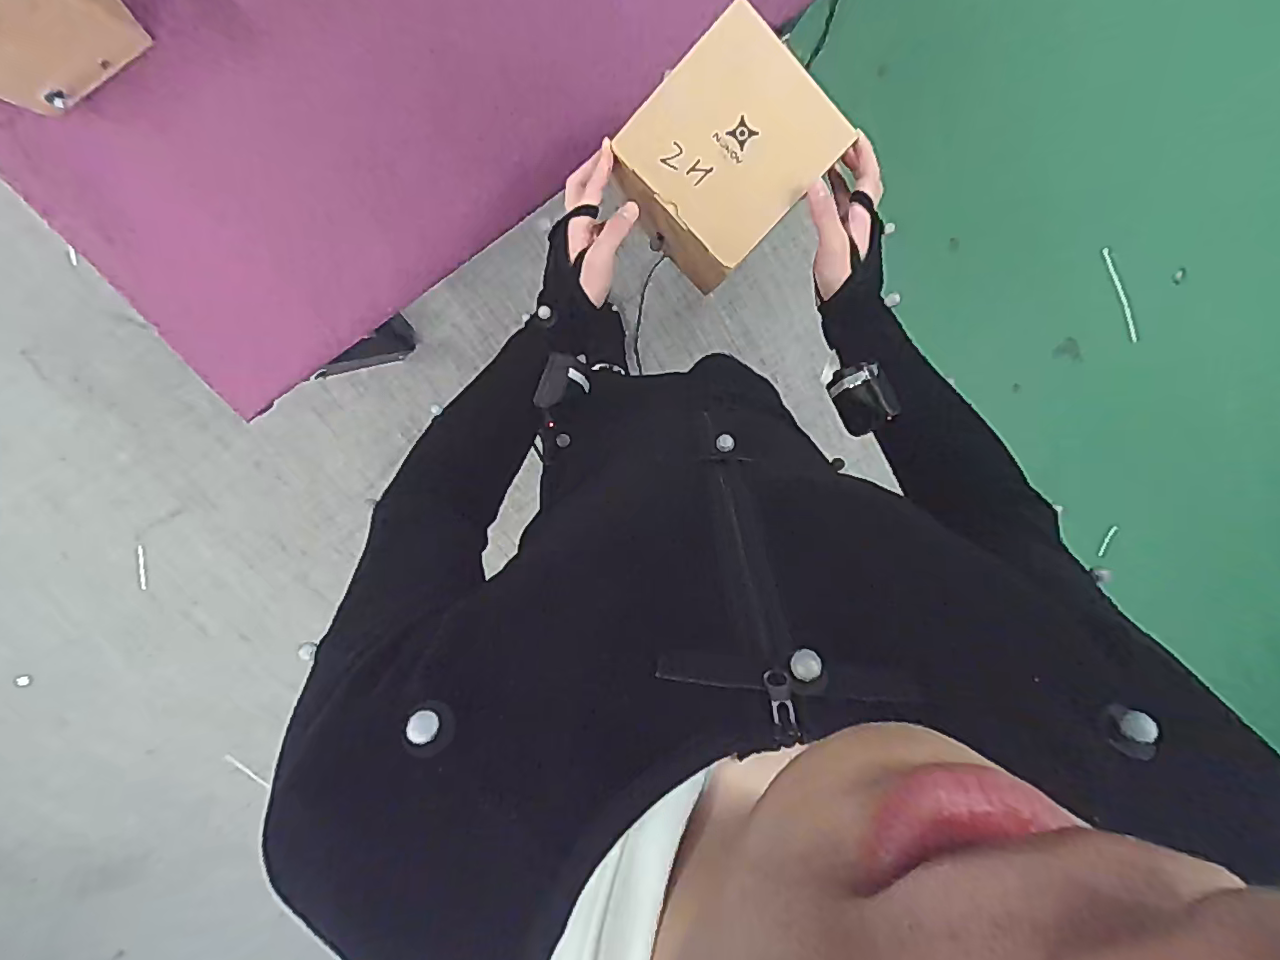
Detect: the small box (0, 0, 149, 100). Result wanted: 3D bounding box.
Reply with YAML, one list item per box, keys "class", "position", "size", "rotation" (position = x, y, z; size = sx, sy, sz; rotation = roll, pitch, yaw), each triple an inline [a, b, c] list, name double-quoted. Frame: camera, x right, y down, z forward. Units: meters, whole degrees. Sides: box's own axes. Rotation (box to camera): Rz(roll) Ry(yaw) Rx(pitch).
- class: "small box"
  position: [-0.707, -0.551, 0.580]
  size: [0.168, 0.176, 0.179]
  rotation: [-33, 107, 4]
